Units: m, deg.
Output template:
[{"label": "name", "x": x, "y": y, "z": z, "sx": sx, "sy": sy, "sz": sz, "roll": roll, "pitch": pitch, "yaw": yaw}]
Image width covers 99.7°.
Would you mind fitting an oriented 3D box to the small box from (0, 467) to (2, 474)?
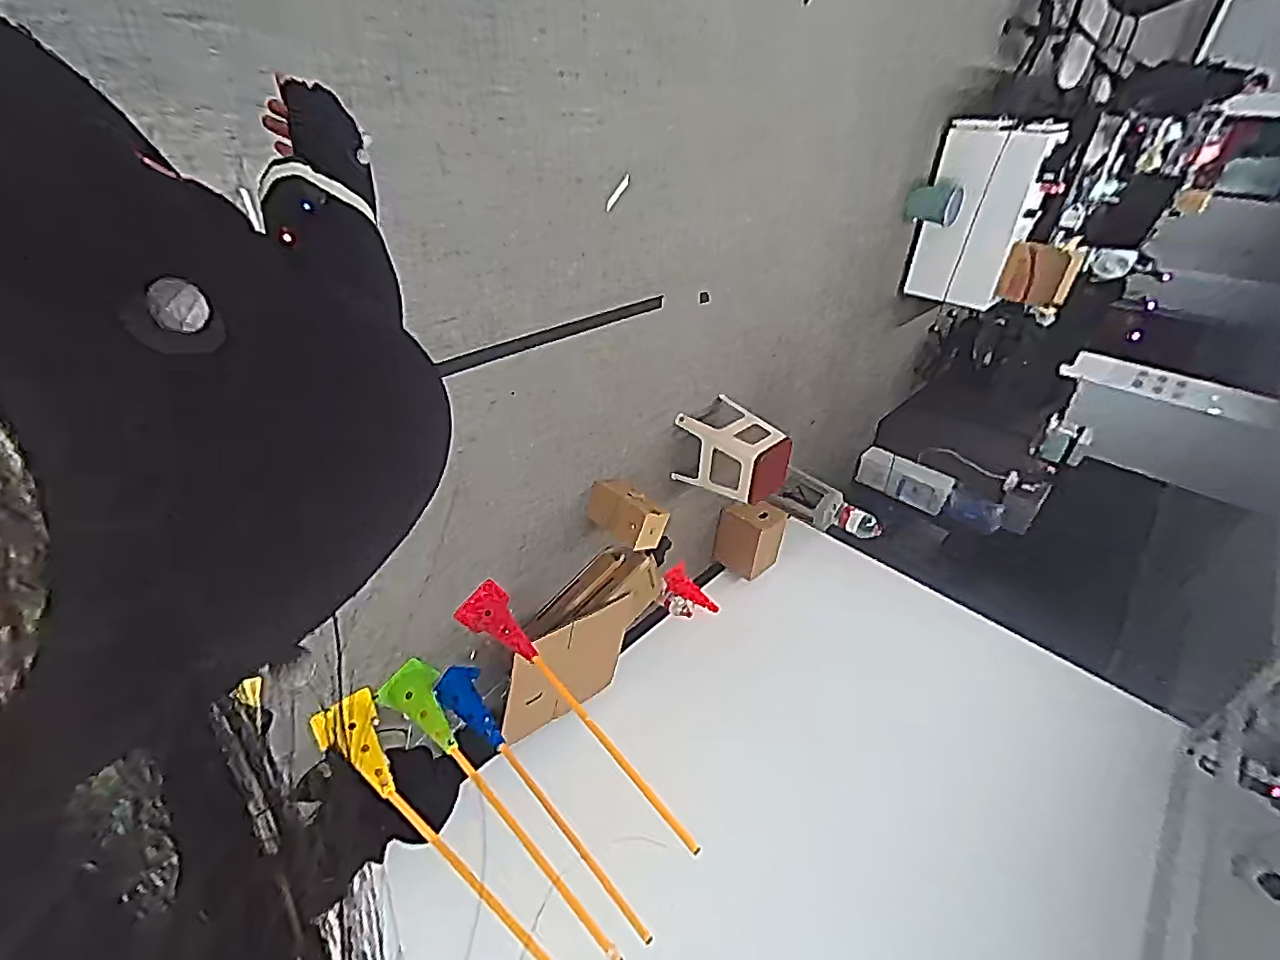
[{"label": "small box", "x": -1.256, "y": -0.019, "z": 0.910, "sx": 0.179, "sy": 0.176, "sz": 0.168, "roll": -51, "pitch": 143, "yaw": -13}]
